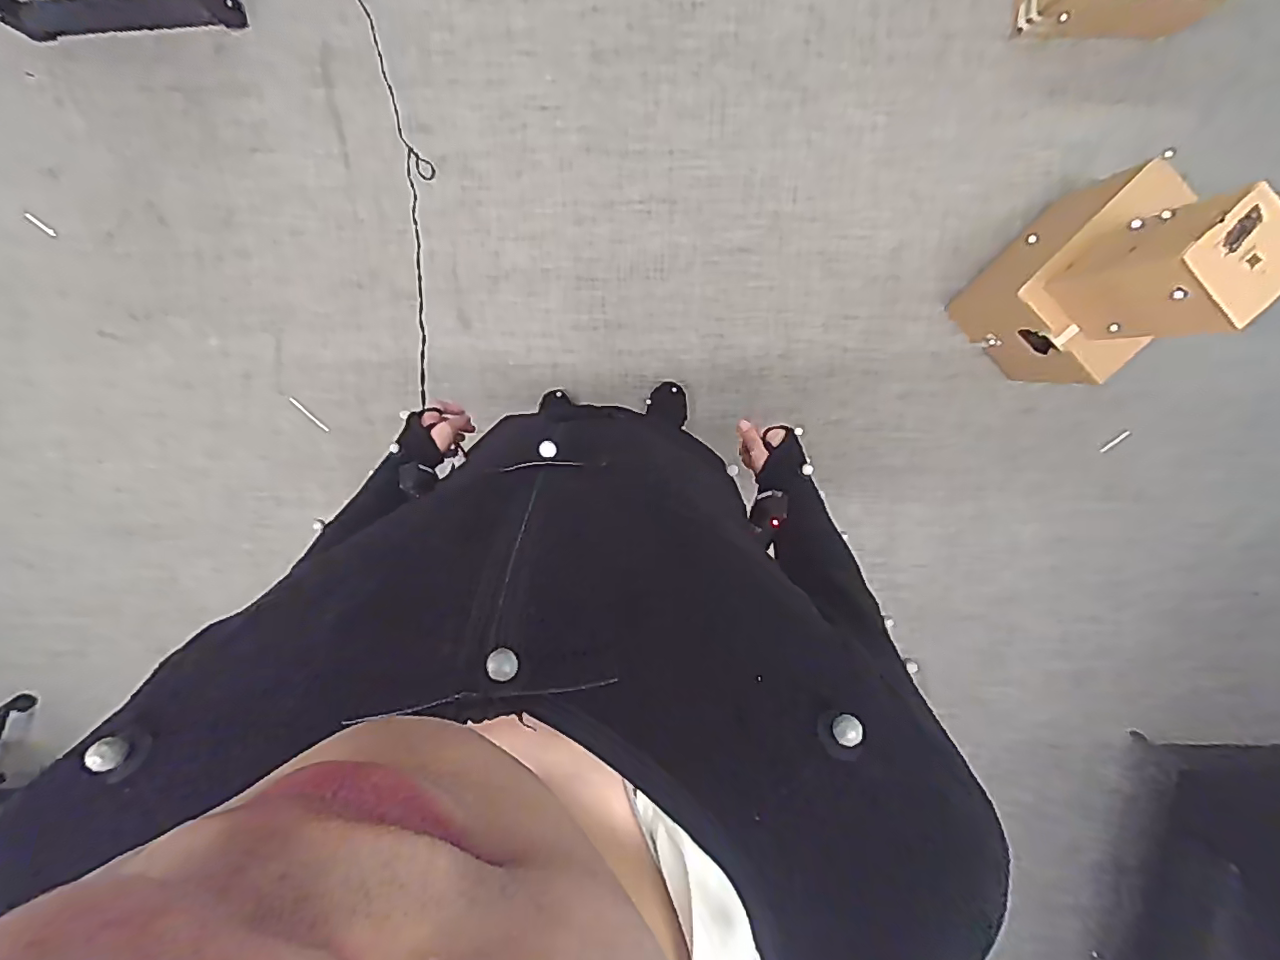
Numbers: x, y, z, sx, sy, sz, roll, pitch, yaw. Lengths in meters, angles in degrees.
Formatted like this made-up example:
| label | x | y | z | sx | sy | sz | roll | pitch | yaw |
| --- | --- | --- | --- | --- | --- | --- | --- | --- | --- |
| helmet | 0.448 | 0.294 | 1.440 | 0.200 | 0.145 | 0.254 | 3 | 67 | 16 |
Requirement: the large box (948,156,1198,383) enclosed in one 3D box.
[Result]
| label | x | y | z | sx | sy | sz | roll | pitch | yaw |
| --- | --- | --- | --- | --- | --- | --- | --- | --- | --- |
| large box | 1.106 | -0.494 | 1.374 | 0.320 | 0.320 | 0.408 | 42 | 98 | -8 |

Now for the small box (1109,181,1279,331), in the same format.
| label | x | y | z | sx | sy | sz | roll | pitch | yaw |
| --- | --- | --- | --- | --- | --- | --- | --- | --- | --- |
| small box | 1.022 | -0.389 | 0.979 | 0.179 | 0.176 | 0.168 | 43 | 99 | -7 |
